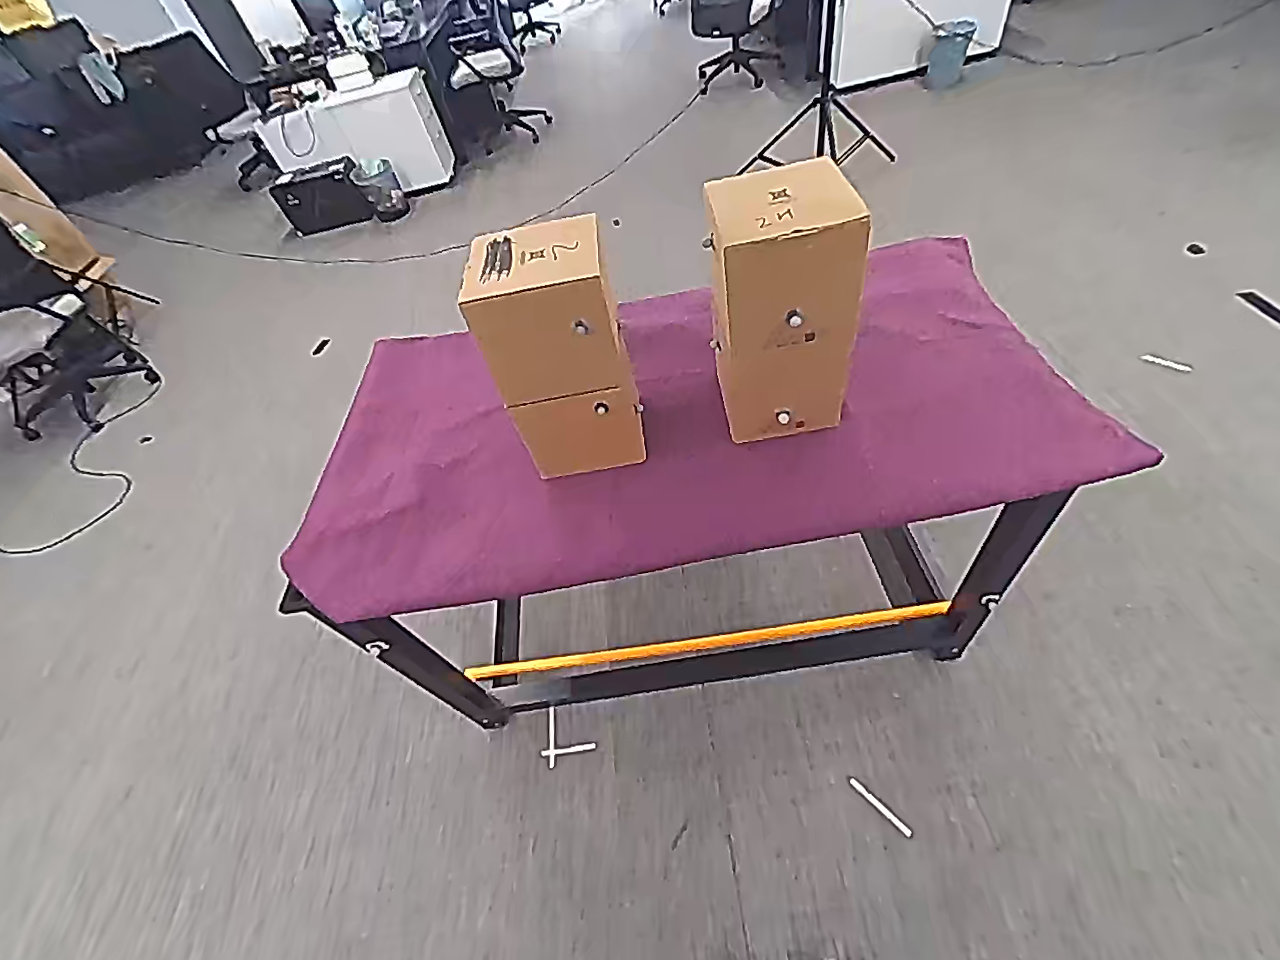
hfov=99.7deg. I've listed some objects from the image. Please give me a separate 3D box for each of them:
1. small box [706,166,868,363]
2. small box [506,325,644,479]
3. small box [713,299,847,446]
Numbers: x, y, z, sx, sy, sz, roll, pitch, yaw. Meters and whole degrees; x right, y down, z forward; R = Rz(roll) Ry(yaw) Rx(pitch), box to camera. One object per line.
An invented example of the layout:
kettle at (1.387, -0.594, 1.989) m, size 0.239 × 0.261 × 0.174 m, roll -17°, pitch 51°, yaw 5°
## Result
small box at (0.185, -0.284, 0.724) m, size 0.168 × 0.176 × 0.179 m, roll -10°, pitch 50°, yaw 6°
small box at (-0.098, -0.120, 0.875) m, size 0.179 × 0.176 × 0.168 m, roll -10°, pitch 49°, yaw 4°
small box at (0.210, -0.179, 0.849) m, size 0.168 × 0.176 × 0.179 m, roll -9°, pitch 50°, yaw 6°
